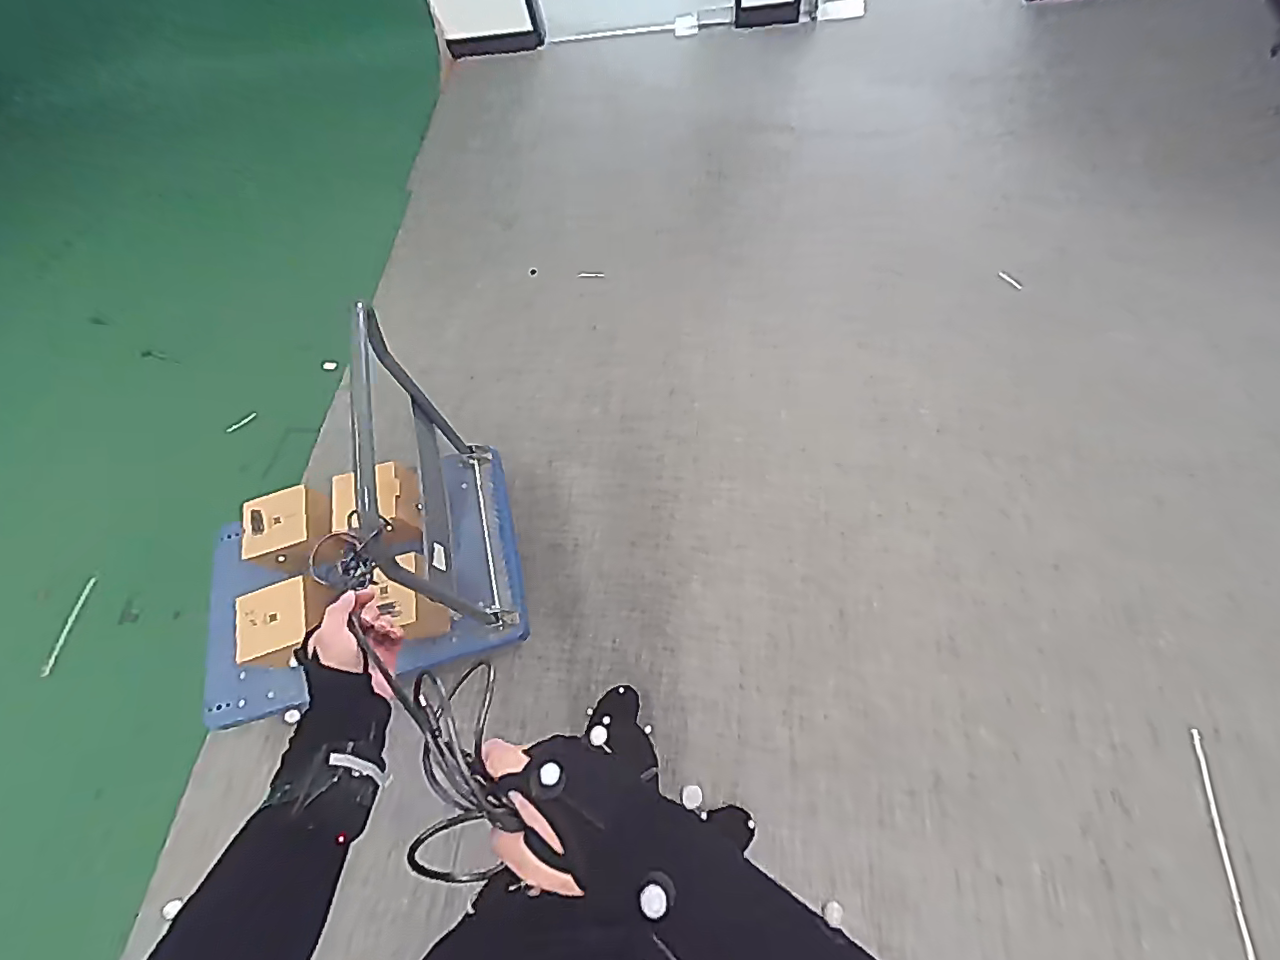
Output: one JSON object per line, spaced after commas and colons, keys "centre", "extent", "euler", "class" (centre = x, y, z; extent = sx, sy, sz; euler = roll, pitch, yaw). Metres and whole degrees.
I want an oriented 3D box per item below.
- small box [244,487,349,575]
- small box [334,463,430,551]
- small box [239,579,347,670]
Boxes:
{"centre": [-0.927, 0.144, 1.468], "extent": [0.179, 0.176, 0.168], "euler": [-18, 66, 0], "class": "small box"}
{"centre": [-0.691, 0.081, 1.461], "extent": [0.179, 0.176, 0.168], "euler": [-15, 66, 2], "class": "small box"}
{"centre": [-0.864, 0.369, 1.363], "extent": [0.179, 0.176, 0.168], "euler": [-20, 65, 0], "class": "small box"}
